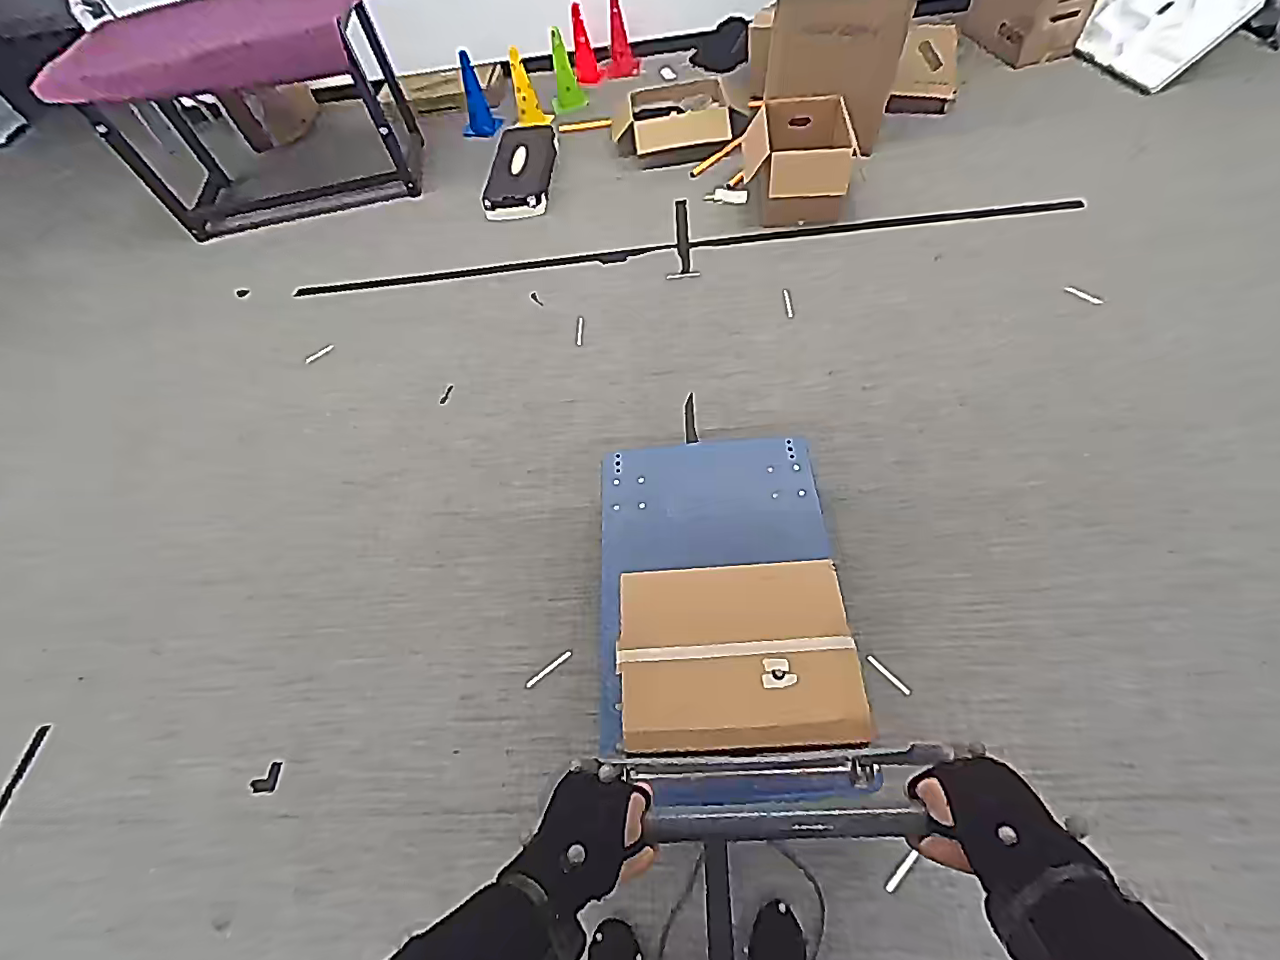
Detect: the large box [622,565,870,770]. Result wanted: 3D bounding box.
[{"bbox_3d":[0.181,0.387,1.085,0.408,0.320,0.320,-5,59,3],"label":"large box"}]
